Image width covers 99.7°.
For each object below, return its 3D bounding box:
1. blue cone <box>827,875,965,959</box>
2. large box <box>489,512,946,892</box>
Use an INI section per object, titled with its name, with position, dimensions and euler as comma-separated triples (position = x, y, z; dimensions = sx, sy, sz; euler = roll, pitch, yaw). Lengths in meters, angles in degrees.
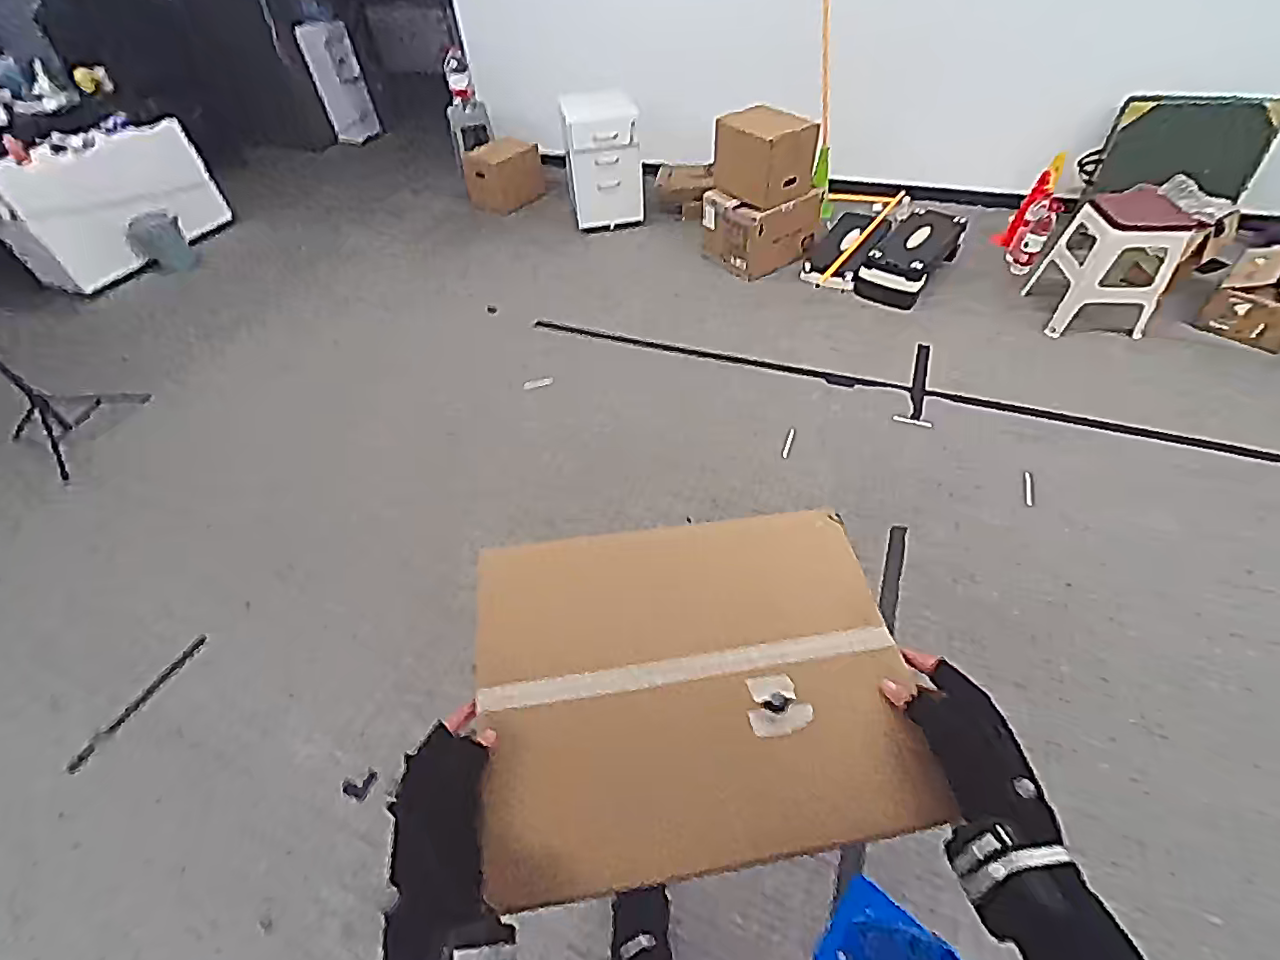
[blue cone]
position = 0.486, 0.831, 0.966
dimensions = 0.193, 0.380, 0.192
euler = 34, 59, 29
[large box]
position = 0.047, 0.270, 0.655
dimensions = 0.408, 0.320, 0.320
euler = -6, 54, -7
